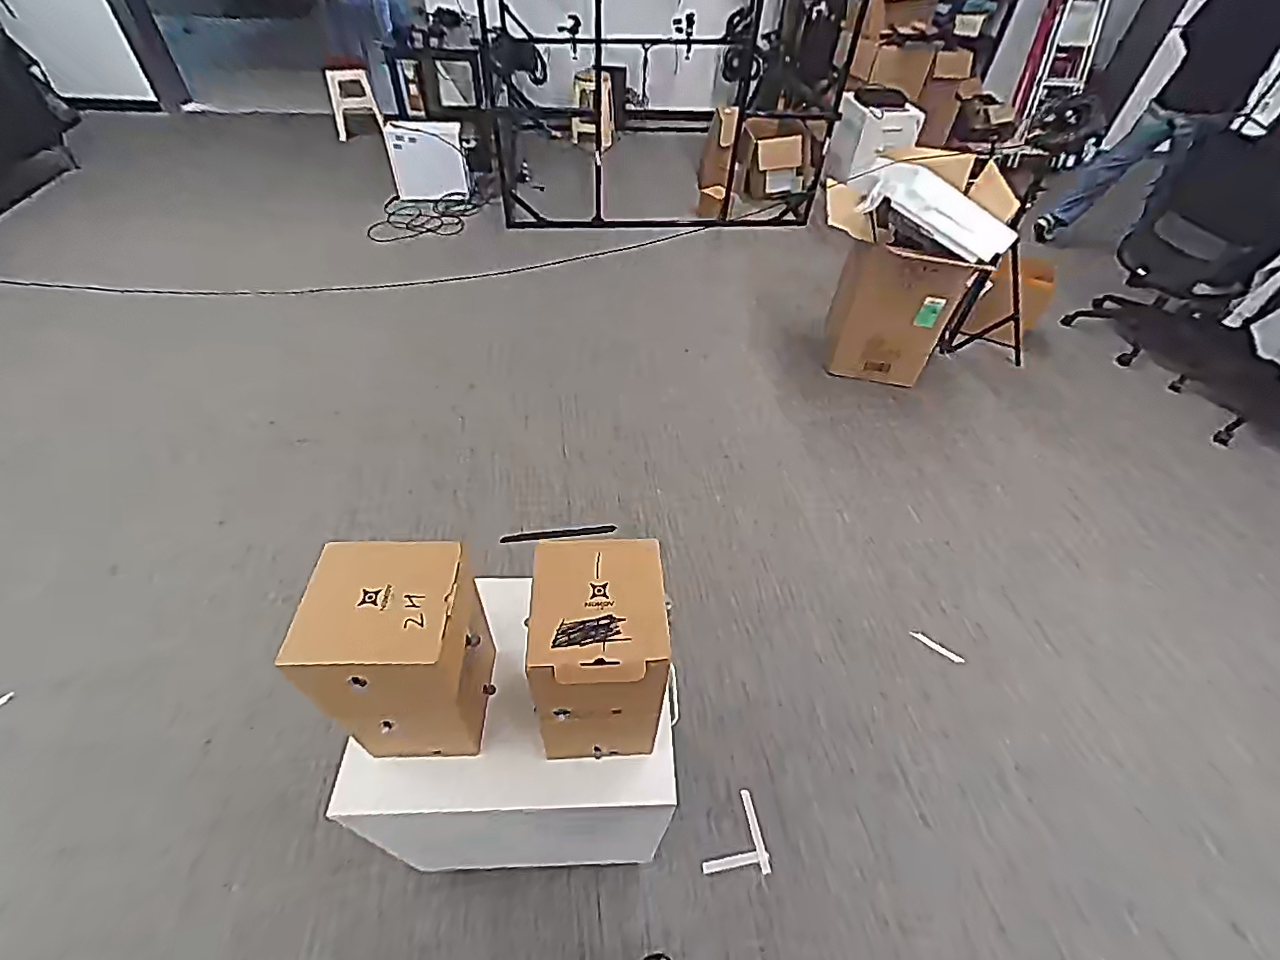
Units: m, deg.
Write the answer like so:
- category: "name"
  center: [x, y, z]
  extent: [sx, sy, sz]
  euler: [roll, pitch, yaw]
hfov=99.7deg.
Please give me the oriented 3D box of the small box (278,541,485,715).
- category: "small box"
  center: [-0.314, 0.195, 0.702]
  extent: [0.179, 0.176, 0.168]
  euler: [1, 48, -4]

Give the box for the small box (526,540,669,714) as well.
- category: "small box"
  center: [-0.053, 0.199, 0.719]
  extent: [0.168, 0.176, 0.179]
  euler: [-1, 47, -4]

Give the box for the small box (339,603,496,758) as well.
- category: "small box"
  center: [-0.323, 0.304, 0.826]
  extent: [0.168, 0.176, 0.179]
  euler: [1, 47, -3]
